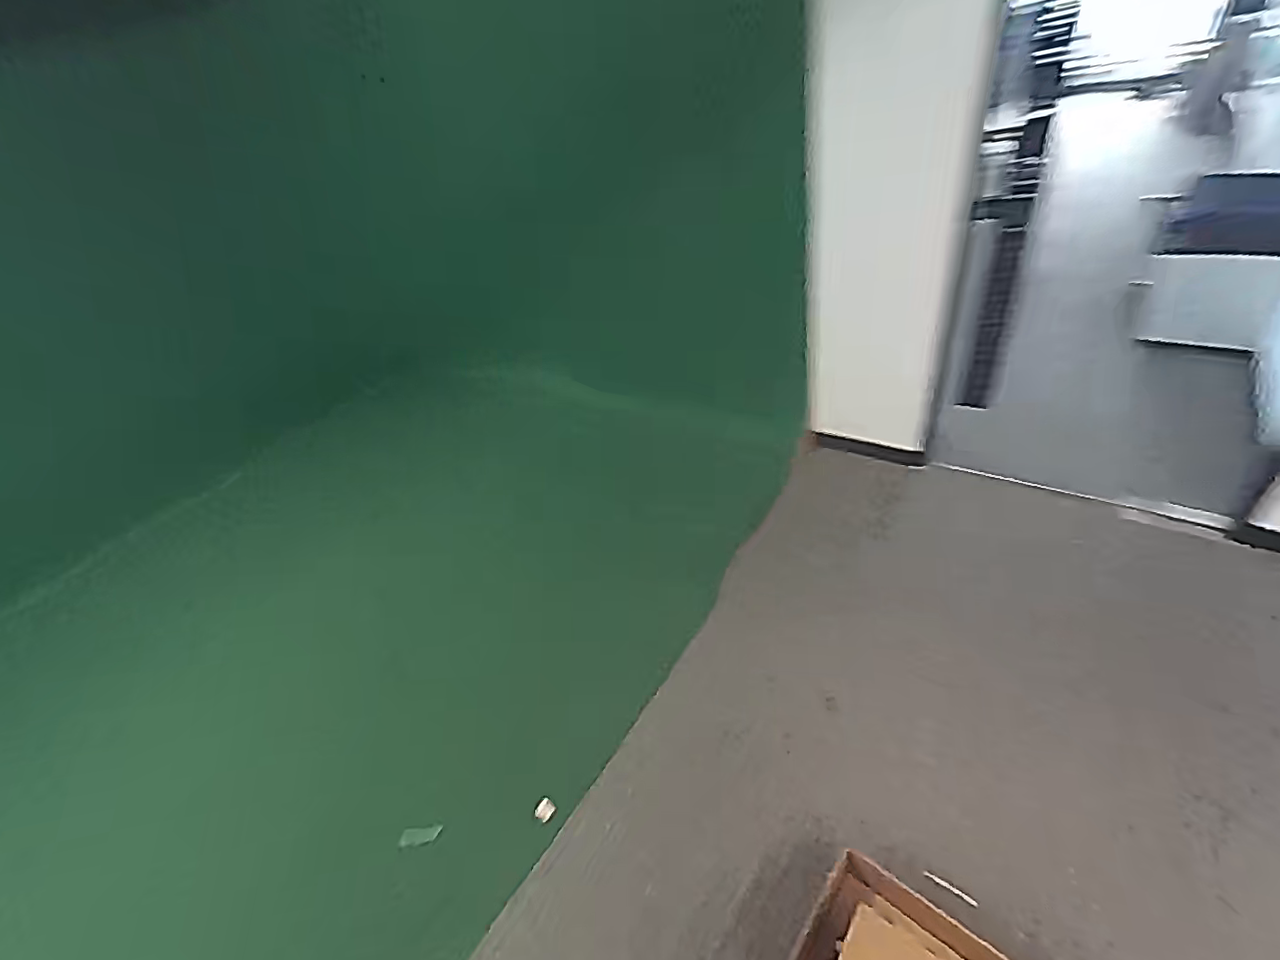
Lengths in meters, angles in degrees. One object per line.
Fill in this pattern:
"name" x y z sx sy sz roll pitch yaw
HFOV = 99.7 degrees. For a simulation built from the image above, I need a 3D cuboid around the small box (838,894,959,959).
"small box" 0.434 0.883 0.940 0.168 0.176 0.179 21 50 35
